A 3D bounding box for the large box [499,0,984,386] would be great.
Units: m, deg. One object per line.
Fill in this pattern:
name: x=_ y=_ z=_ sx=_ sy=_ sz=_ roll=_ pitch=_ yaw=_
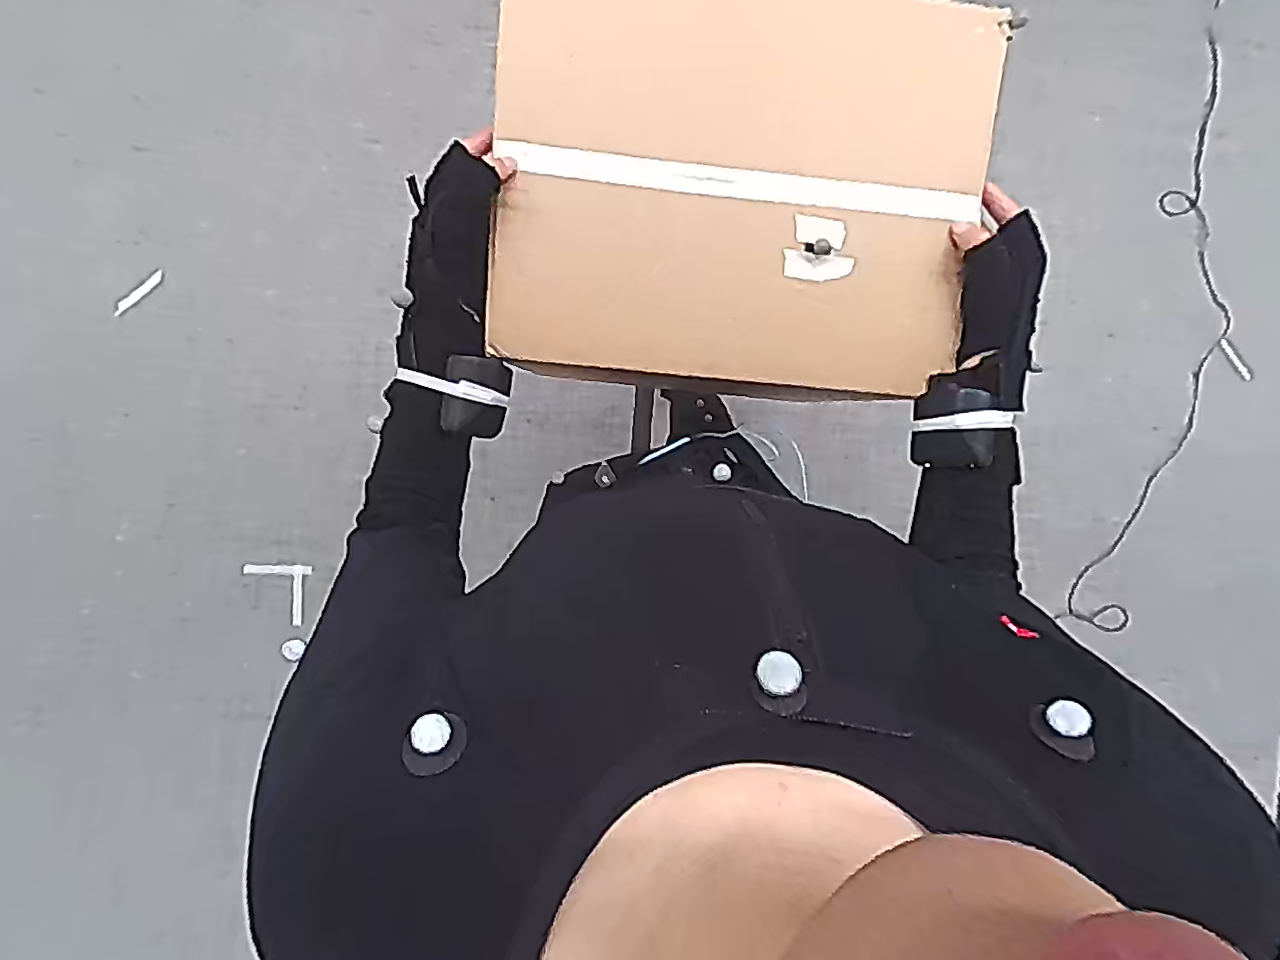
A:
large box: x=0.072 y=-0.276 z=0.606 sx=0.408 sy=0.320 sz=0.320 roll=4 pitch=99 yaw=-5
